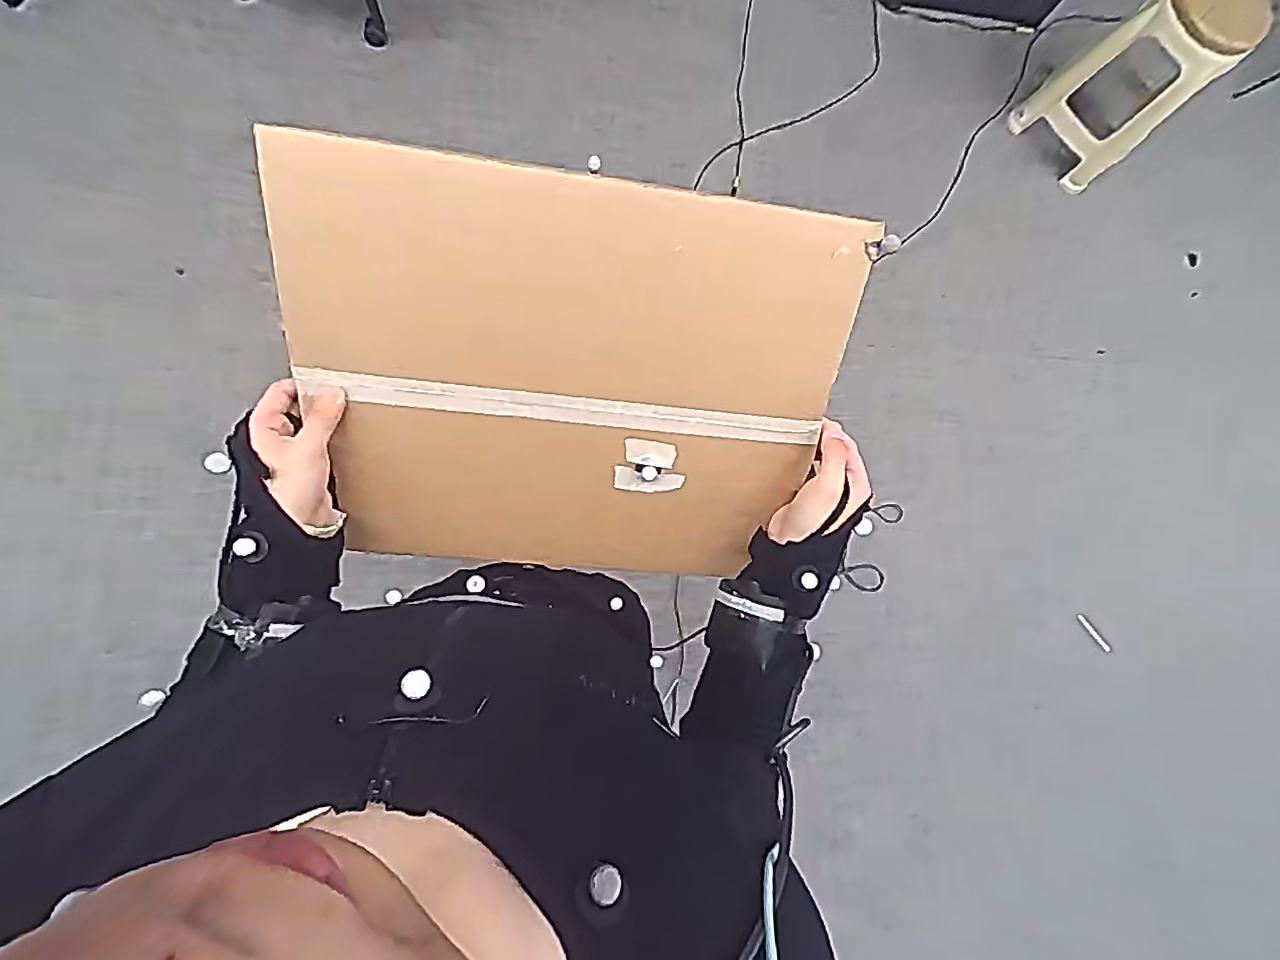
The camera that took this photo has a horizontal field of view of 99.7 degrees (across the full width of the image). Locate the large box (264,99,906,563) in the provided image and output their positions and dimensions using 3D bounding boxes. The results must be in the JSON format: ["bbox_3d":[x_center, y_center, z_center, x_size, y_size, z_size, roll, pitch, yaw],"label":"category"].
[{"bbox_3d":[-0.050,-0.140,0.530,0.408,0.320,0.320,4,119,-8],"label":"large box"}]
